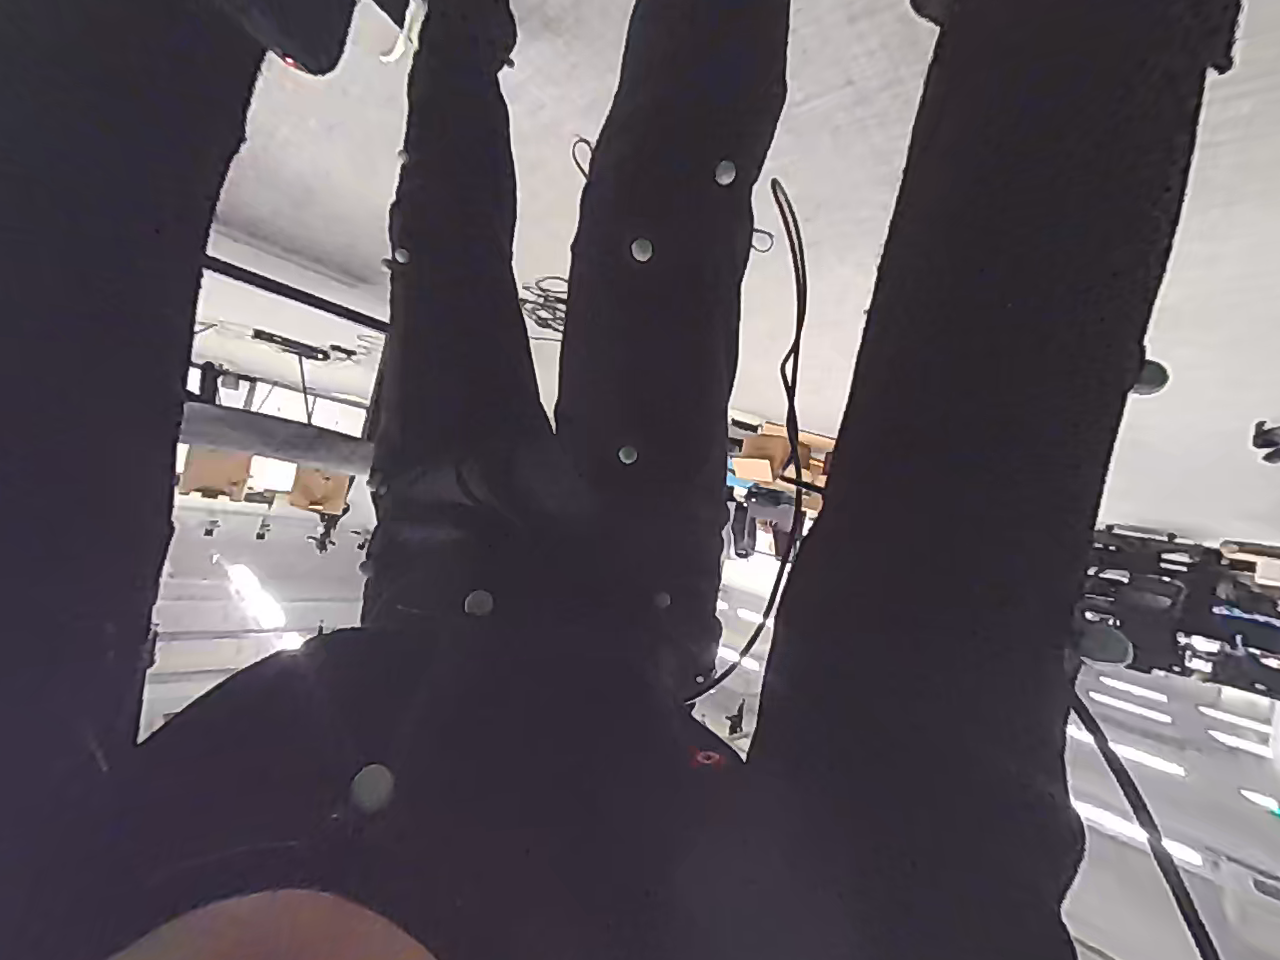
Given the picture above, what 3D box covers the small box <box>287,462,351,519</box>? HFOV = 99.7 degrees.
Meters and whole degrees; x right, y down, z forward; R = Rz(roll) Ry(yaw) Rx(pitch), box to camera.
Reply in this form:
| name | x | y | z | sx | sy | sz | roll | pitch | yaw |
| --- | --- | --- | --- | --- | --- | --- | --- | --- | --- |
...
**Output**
| name | x | y | z | sx | sy | sz | roll | pitch | yaw |
| --- | --- | --- | --- | --- | --- | --- | --- | --- | --- |
| small box | -1.154 | 0.032 | 1.946 | 0.168 | 0.176 | 0.179 | 14 | 177 | -31 |
